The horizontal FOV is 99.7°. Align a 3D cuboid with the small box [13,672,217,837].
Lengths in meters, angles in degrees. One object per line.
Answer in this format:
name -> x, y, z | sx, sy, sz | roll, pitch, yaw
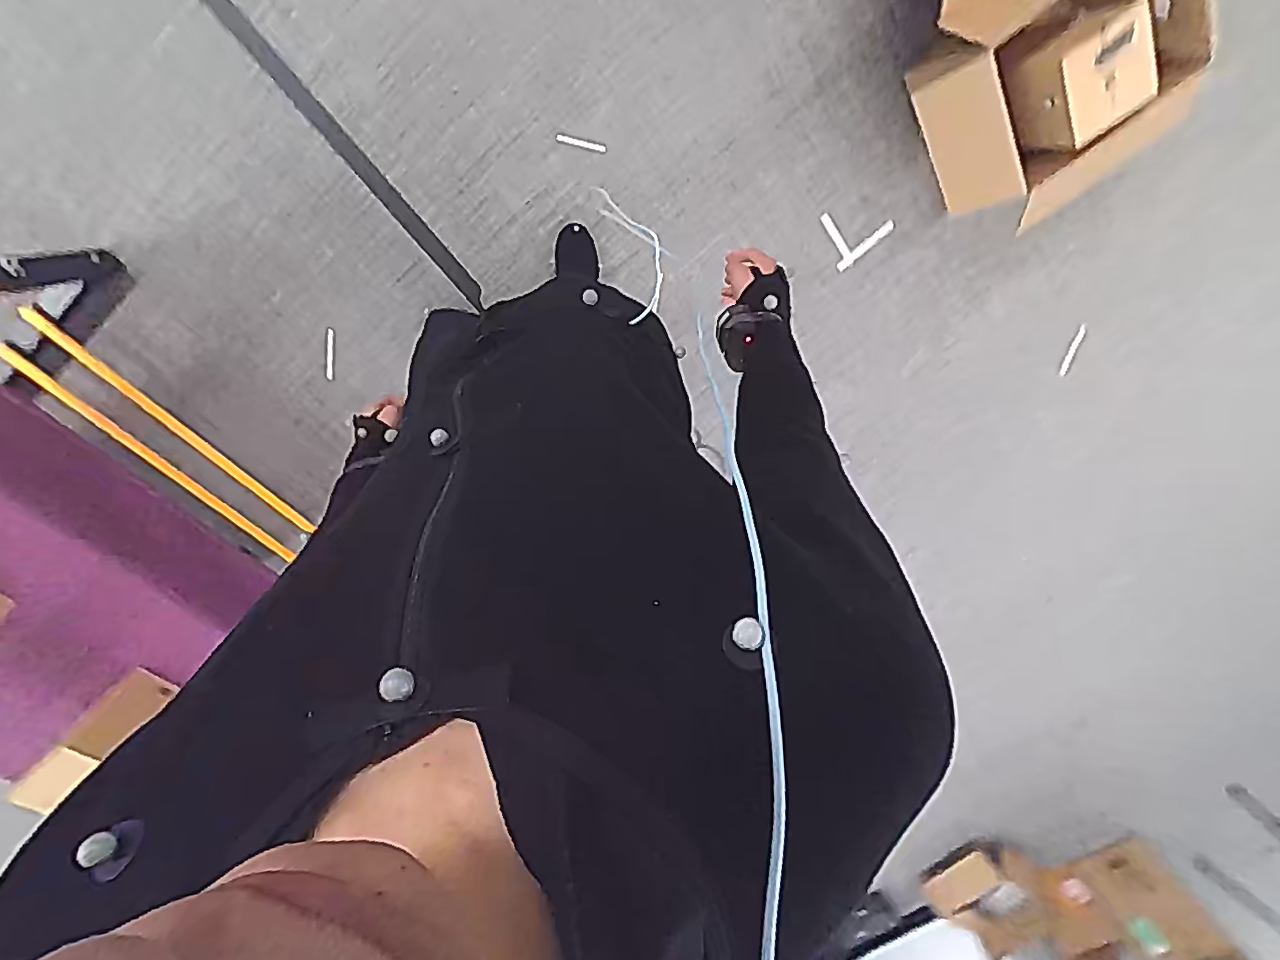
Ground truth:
small box -> -0.905, 0.478, 0.958 | 0.179, 0.176, 0.168 | -38, 114, 13
